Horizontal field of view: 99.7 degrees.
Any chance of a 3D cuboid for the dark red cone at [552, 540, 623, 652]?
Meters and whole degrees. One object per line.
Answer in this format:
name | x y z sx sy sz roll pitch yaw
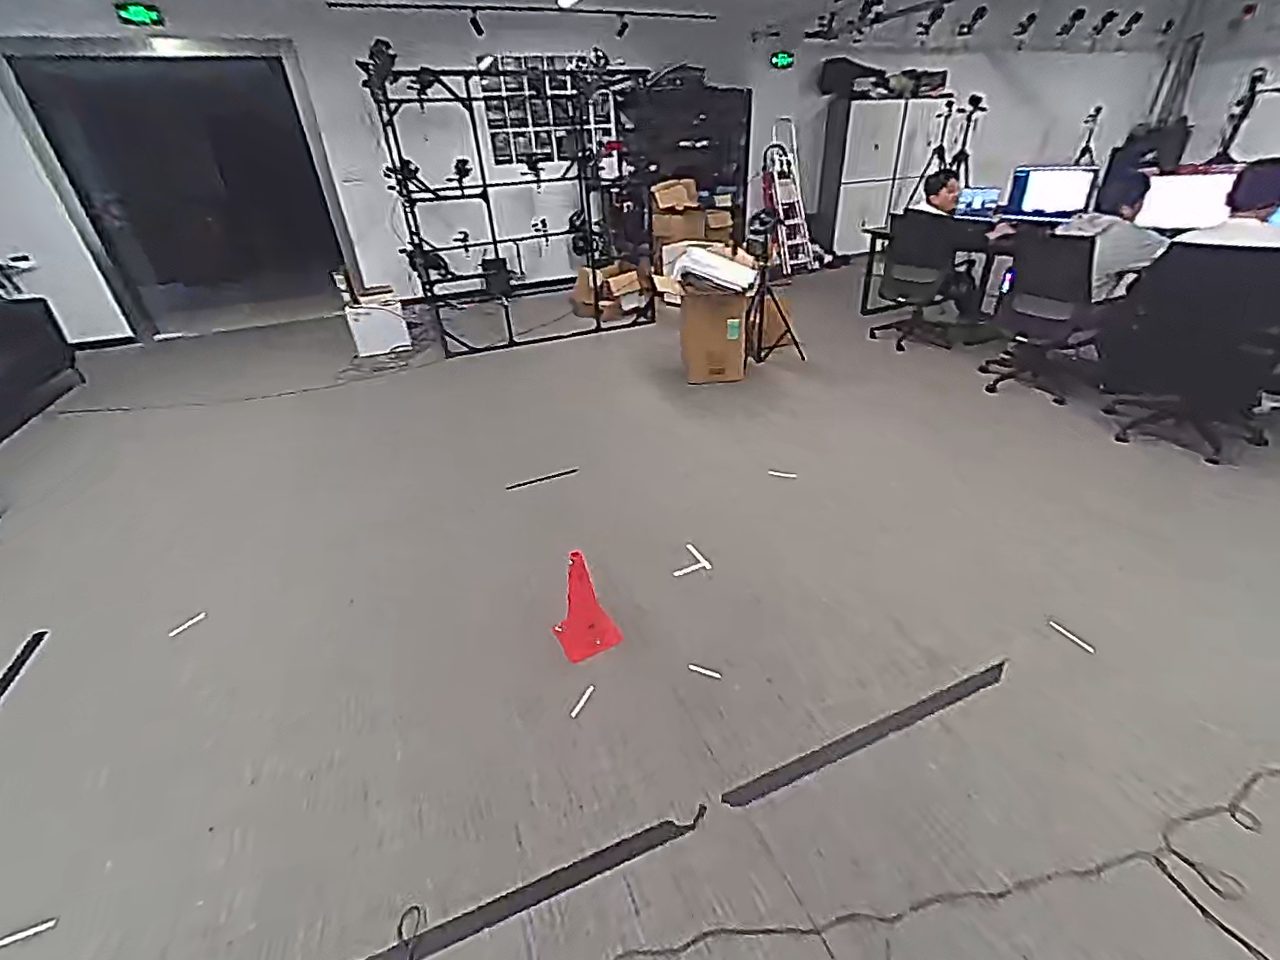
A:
dark red cone | -0.190 0.363 1.784 0.202 0.394 0.201 -19 35 -24
